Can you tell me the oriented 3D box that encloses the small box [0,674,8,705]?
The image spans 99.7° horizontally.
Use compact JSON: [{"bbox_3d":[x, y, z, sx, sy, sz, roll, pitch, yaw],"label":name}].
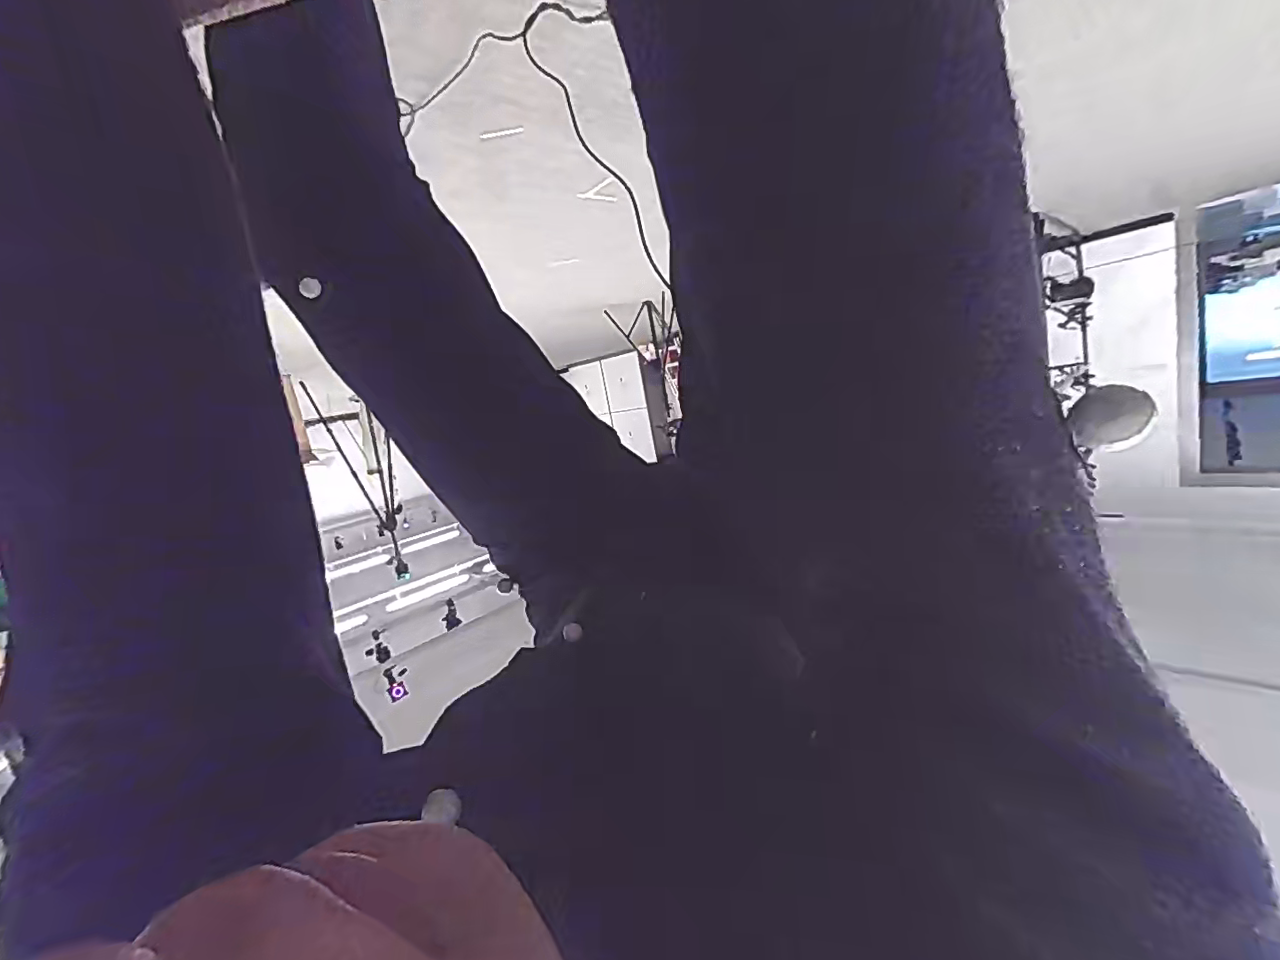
[{"bbox_3d":[-0.934,0.243,0.661,0.168,0.176,0.179,-21,-167,-42],"label":"small box"}]
